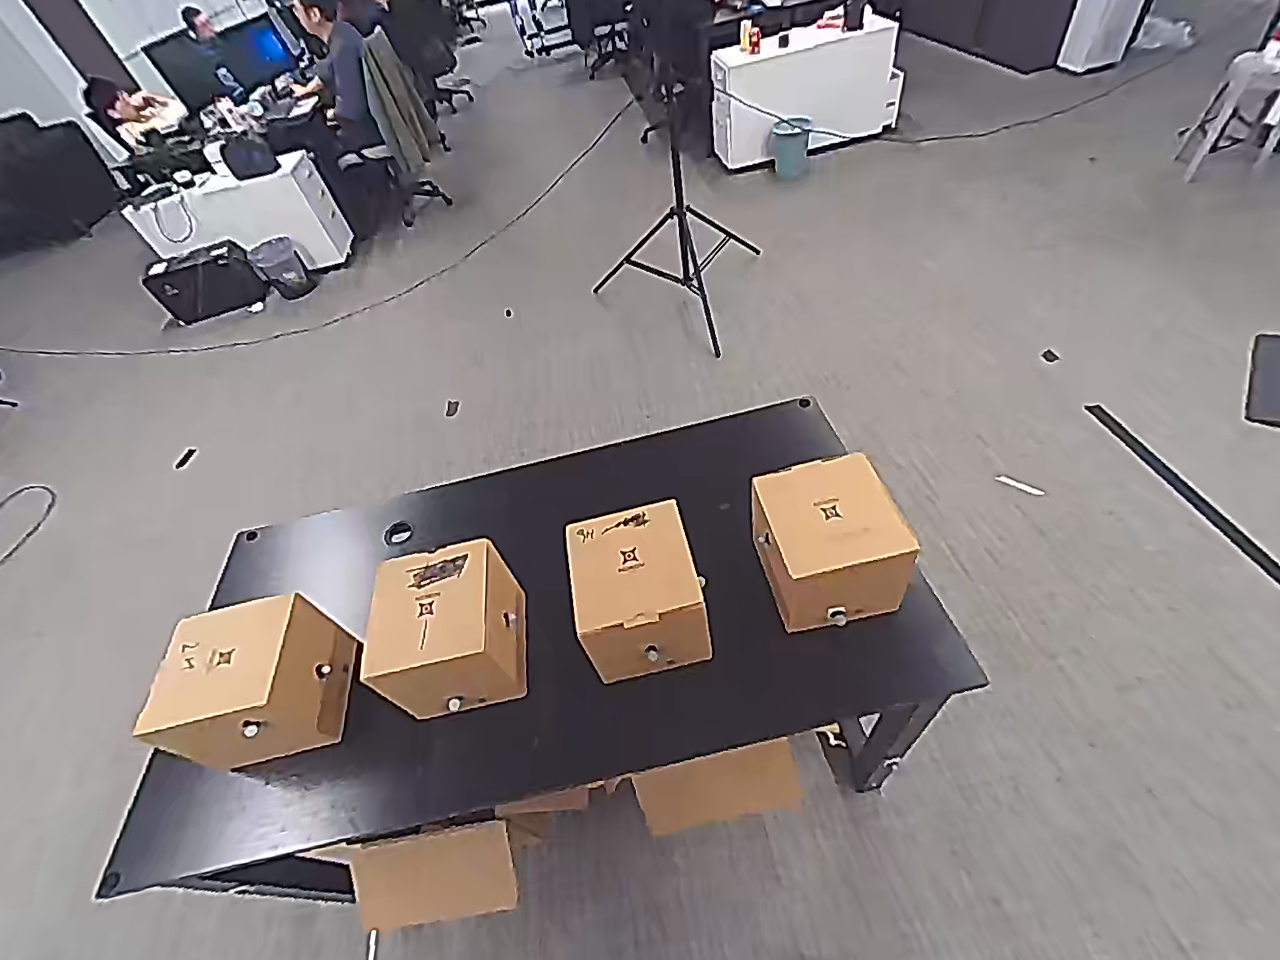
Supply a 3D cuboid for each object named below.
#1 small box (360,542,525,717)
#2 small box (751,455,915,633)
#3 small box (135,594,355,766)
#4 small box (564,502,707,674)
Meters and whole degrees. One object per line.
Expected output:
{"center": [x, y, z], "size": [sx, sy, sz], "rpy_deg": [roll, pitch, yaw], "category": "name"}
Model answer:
{"center": [-0.274, 0.221, 0.794], "size": [0.168, 0.176, 0.179], "rpy_deg": [-13, 49, 1], "category": "small box"}
{"center": [0.265, 0.096, 0.789], "size": [0.168, 0.176, 0.179], "rpy_deg": [-14, 49, 2], "category": "small box"}
{"center": [-0.549, 0.293, 0.787], "size": [0.179, 0.176, 0.168], "rpy_deg": [-14, 48, -1], "category": "small box"}
{"center": [-0.004, 0.165, 0.787], "size": [0.168, 0.176, 0.179], "rpy_deg": [-14, 49, 1], "category": "small box"}
